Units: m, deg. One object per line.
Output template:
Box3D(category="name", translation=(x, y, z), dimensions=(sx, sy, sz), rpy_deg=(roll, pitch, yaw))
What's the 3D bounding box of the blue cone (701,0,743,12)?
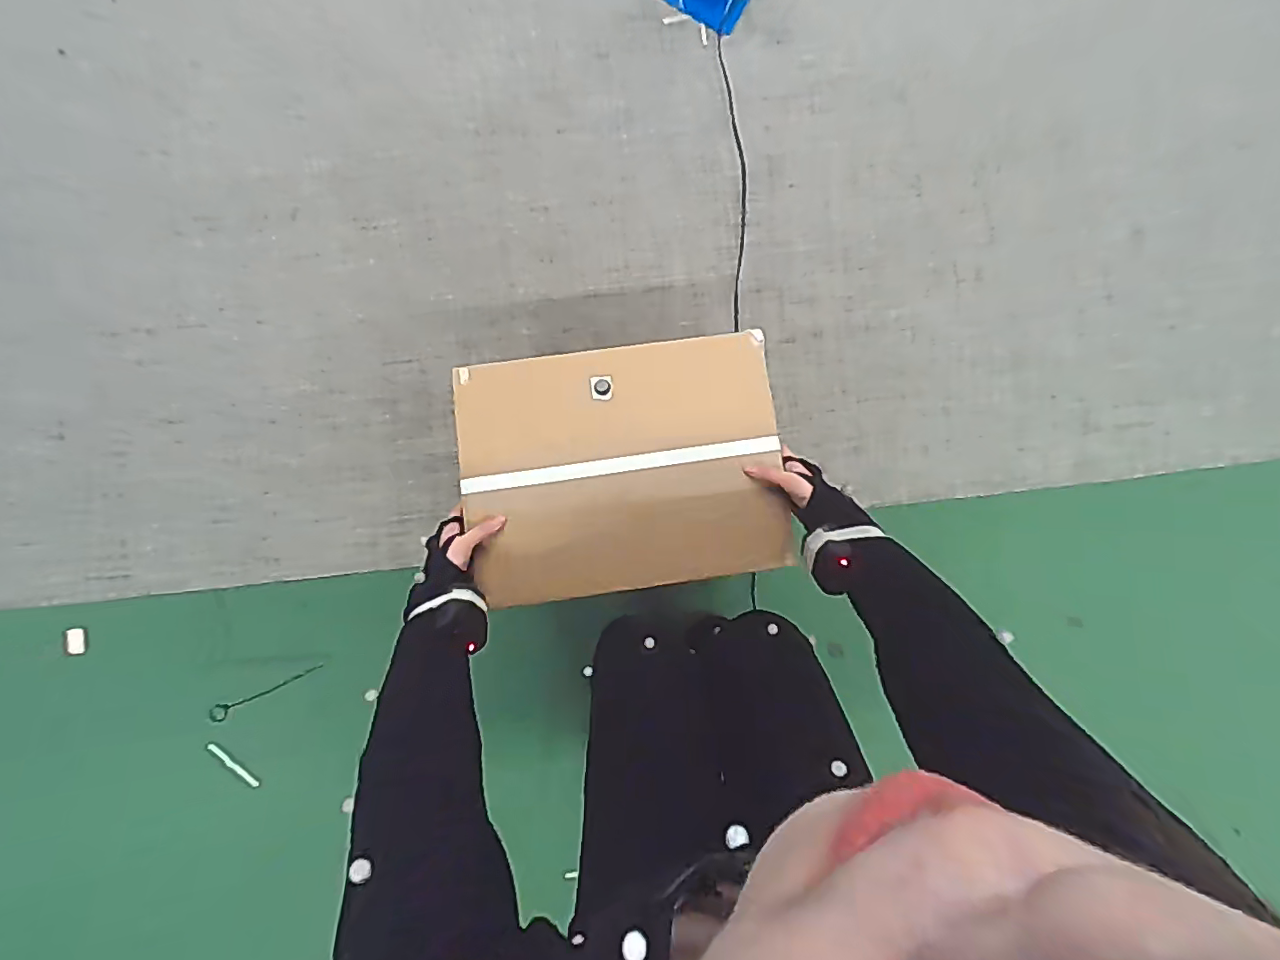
Box3D(category="blue cone", translation=(0.139, -0.997, 0.862), dimensions=(0.192, 0.380, 0.193), rpy_deg=(26, 91, -2))
